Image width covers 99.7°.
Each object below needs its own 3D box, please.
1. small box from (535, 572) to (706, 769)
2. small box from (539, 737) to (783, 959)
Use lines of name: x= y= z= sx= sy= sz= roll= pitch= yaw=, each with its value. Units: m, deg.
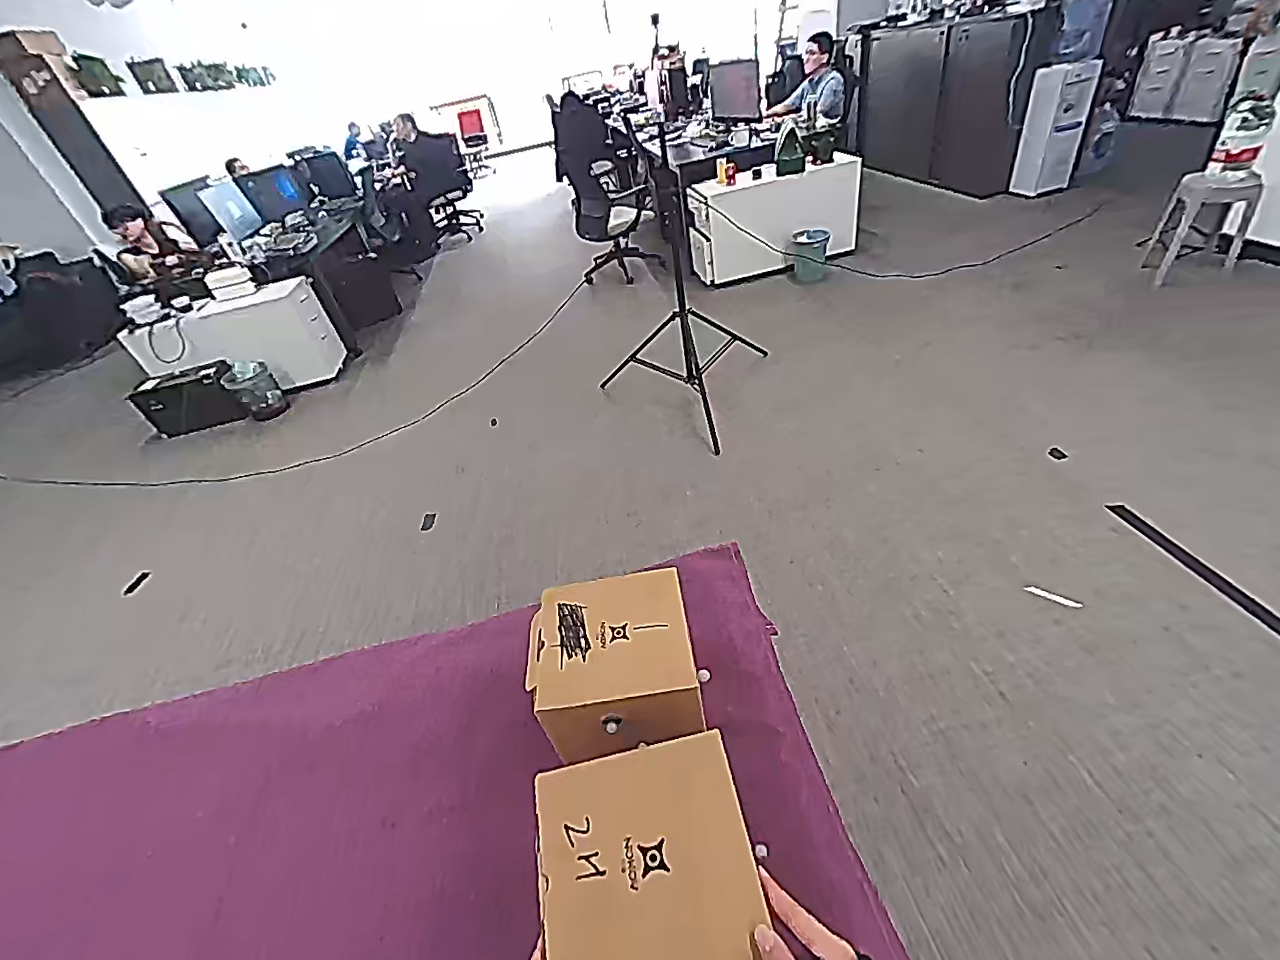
small box: x=-0.020 y=0.244 z=0.677 sx=0.179 sy=0.176 sz=0.168 roll=-10 pitch=40 yaw=1
small box: x=0.017 y=0.362 z=0.499 sx=0.179 sy=0.176 sz=0.168 roll=-14 pitch=48 yaw=0
